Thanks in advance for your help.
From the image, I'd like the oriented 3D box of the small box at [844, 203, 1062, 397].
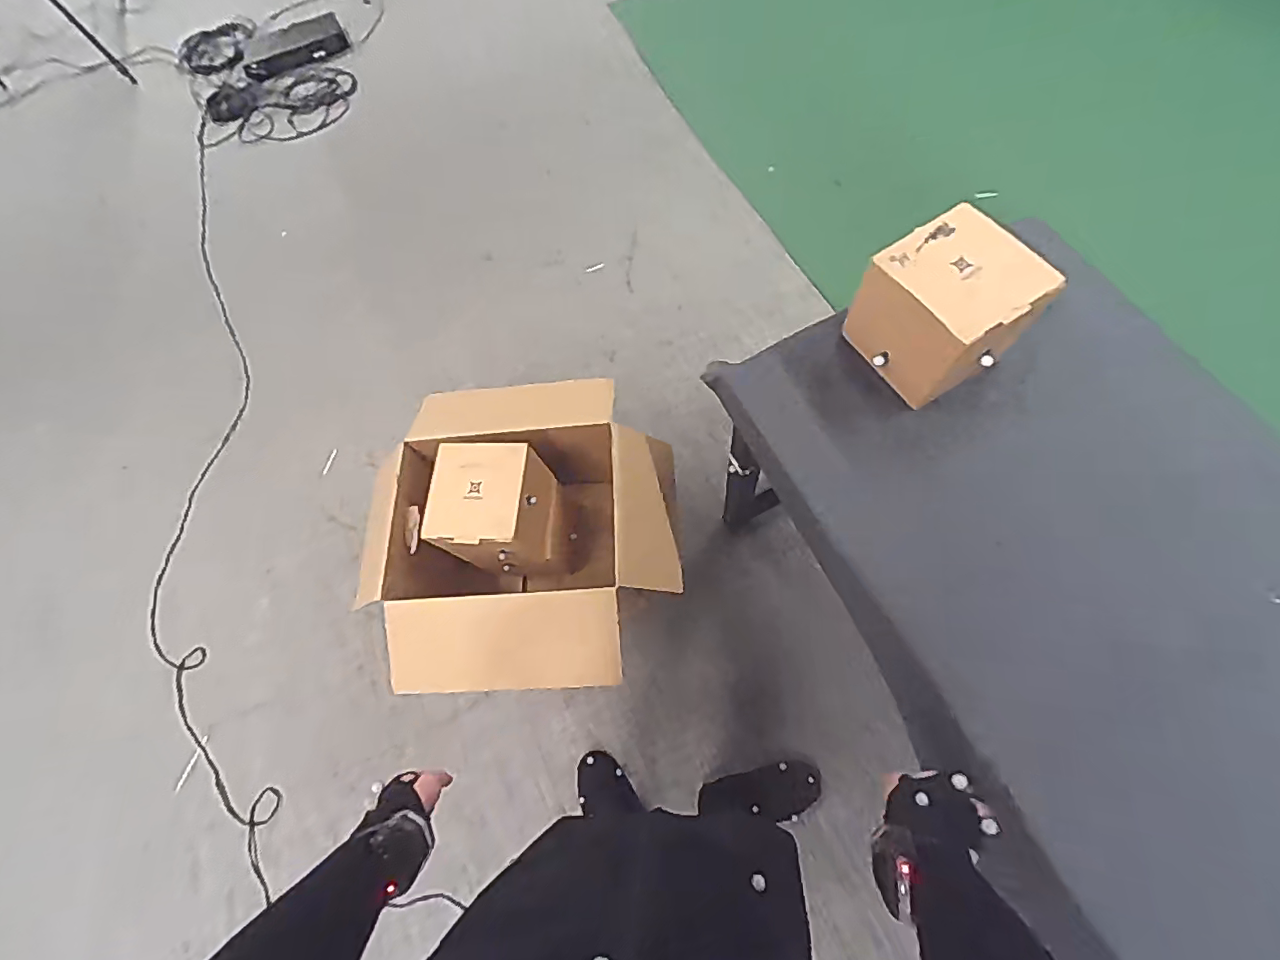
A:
[{"bbox_3d":[0.427,-0.242,0.774,0.168,0.176,0.179,-31,69,-7],"label":"small box"}]
